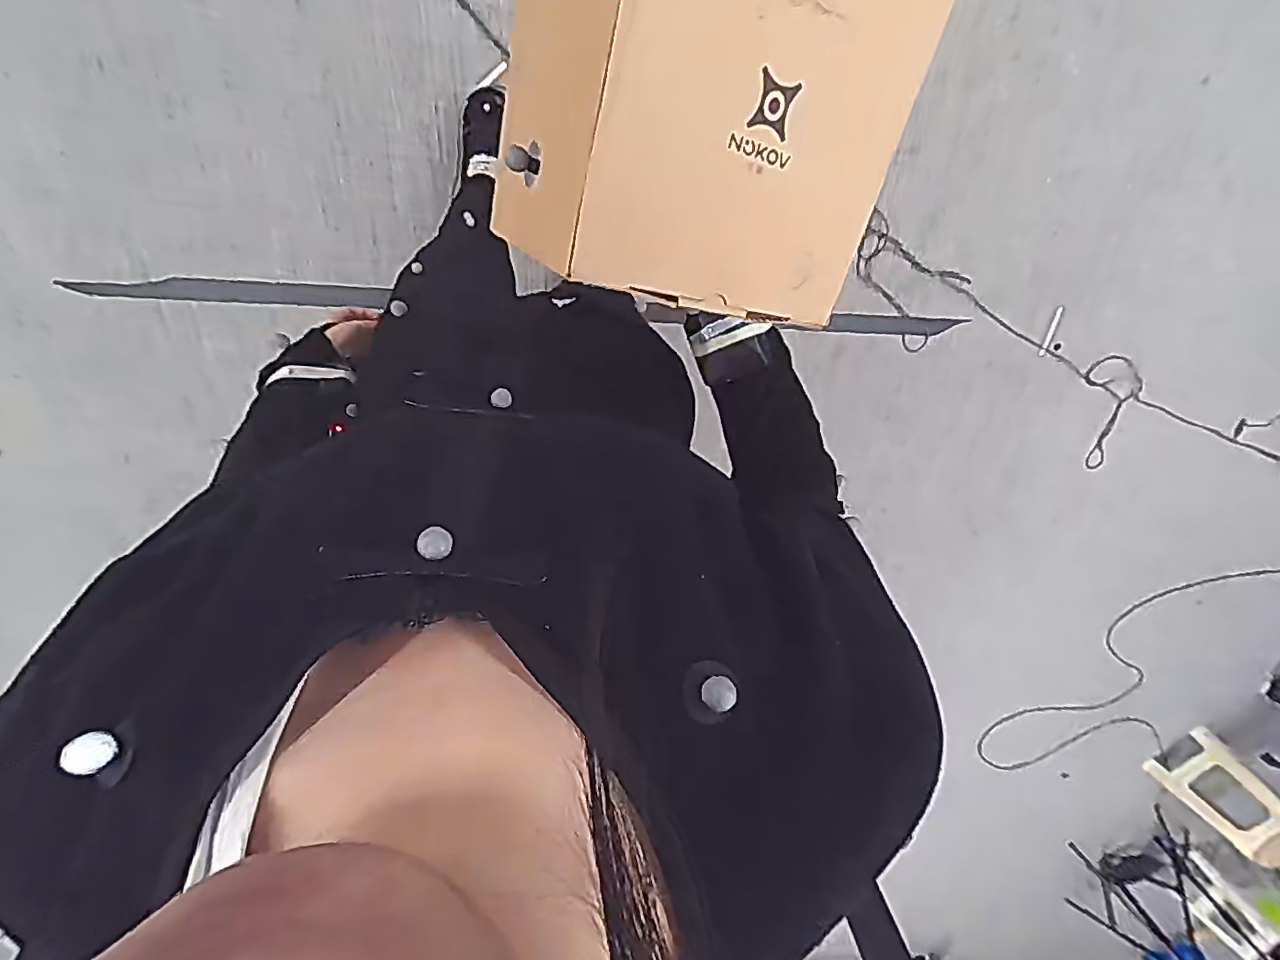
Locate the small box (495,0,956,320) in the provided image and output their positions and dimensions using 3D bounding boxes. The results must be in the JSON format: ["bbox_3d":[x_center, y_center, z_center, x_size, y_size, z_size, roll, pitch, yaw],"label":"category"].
[{"bbox_3d":[0.025,-0.207,0.300,0.168,0.176,0.179,0,119,-30],"label":"small box"}]
